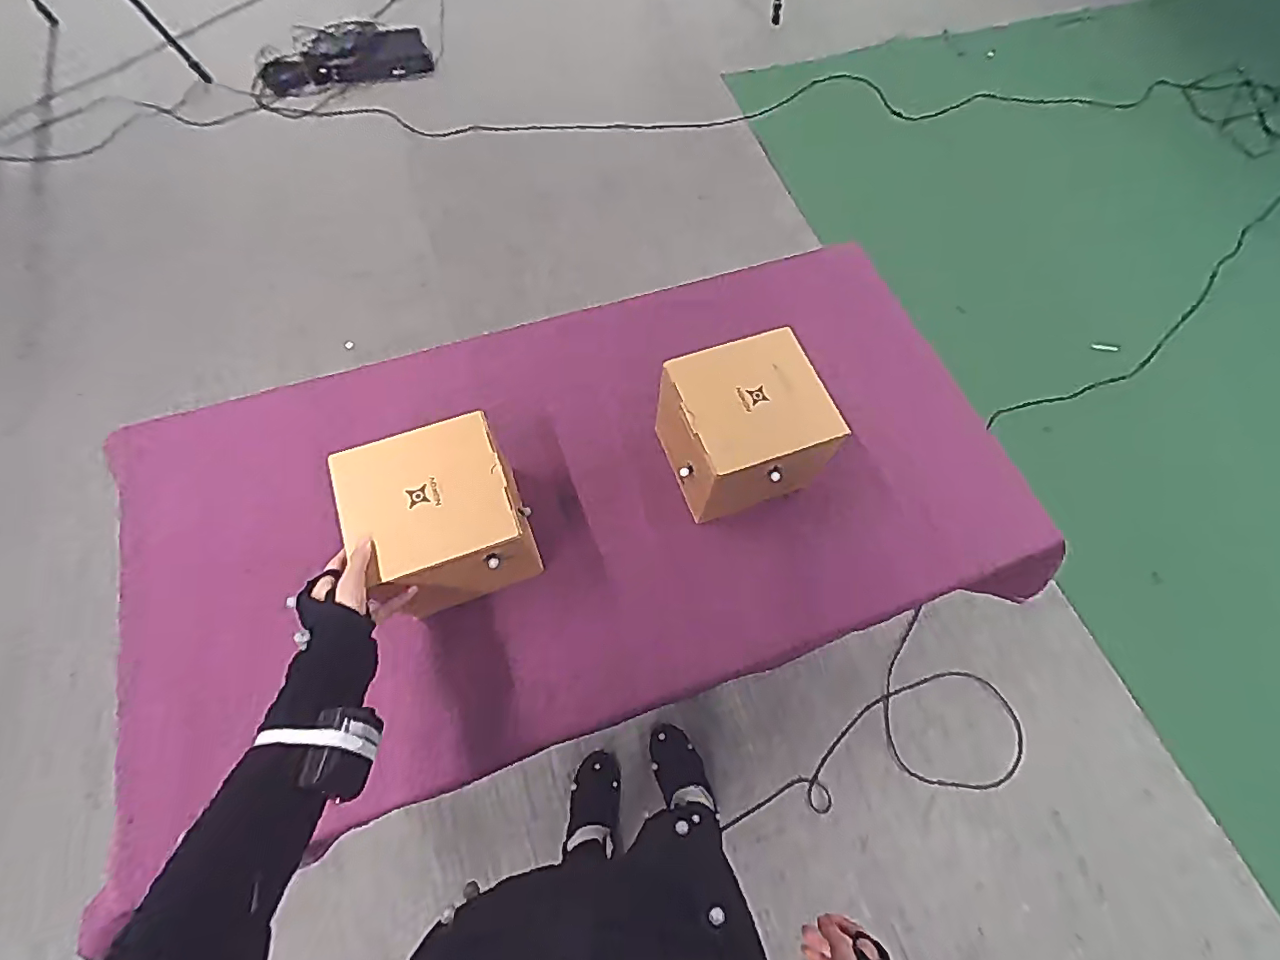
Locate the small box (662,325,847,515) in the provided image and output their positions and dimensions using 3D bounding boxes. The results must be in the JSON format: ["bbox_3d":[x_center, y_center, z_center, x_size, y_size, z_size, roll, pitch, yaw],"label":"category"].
[{"bbox_3d":[0.135,-0.071,0.723,0.179,0.176,0.168,-18,69,-10],"label":"small box"}]

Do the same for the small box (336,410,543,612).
[{"bbox_3d":[-0.234,0.046,0.662,0.179,0.176,0.168,-20,68,-11],"label":"small box"}]
